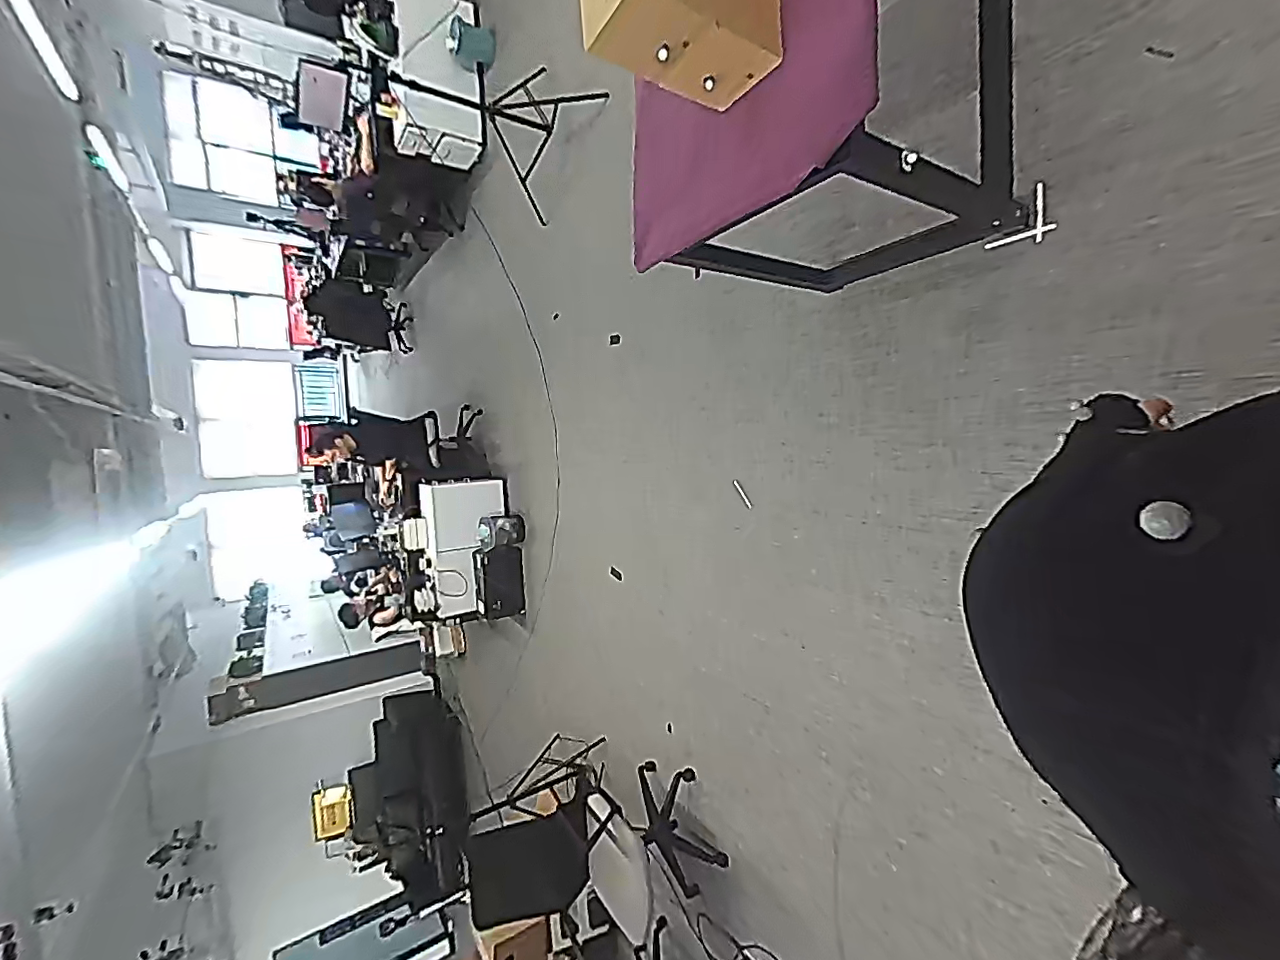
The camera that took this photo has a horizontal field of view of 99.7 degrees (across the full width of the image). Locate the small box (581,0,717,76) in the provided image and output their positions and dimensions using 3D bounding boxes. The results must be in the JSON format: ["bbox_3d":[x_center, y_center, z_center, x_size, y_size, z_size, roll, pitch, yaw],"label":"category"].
[{"bbox_3d":[0.012,-0.837,0.910,0.168,0.176,0.179,-2,93,57],"label":"small box"}]

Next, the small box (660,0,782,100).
[{"bbox_3d":[0.147,-0.848,1.004,0.168,0.176,0.179,-2,93,56],"label":"small box"}]
